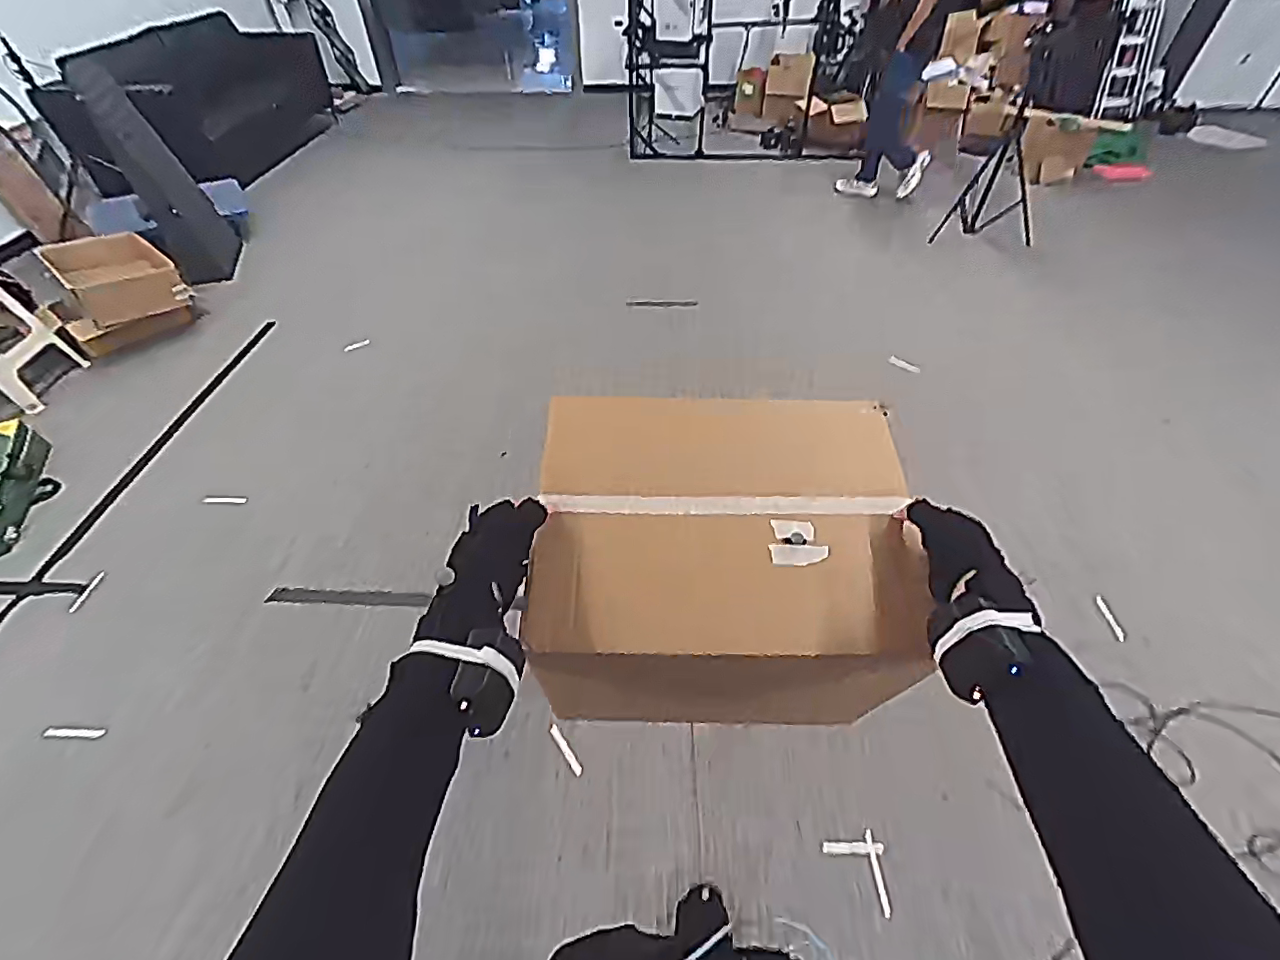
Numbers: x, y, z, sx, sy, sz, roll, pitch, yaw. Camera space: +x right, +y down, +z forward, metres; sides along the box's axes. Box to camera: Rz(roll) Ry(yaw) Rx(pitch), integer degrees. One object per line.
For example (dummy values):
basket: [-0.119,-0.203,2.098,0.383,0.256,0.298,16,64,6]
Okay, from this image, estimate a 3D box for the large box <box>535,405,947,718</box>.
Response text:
large box: [0.093,0.117,0.717,0.408,0.320,0.320,1,55,-1]
